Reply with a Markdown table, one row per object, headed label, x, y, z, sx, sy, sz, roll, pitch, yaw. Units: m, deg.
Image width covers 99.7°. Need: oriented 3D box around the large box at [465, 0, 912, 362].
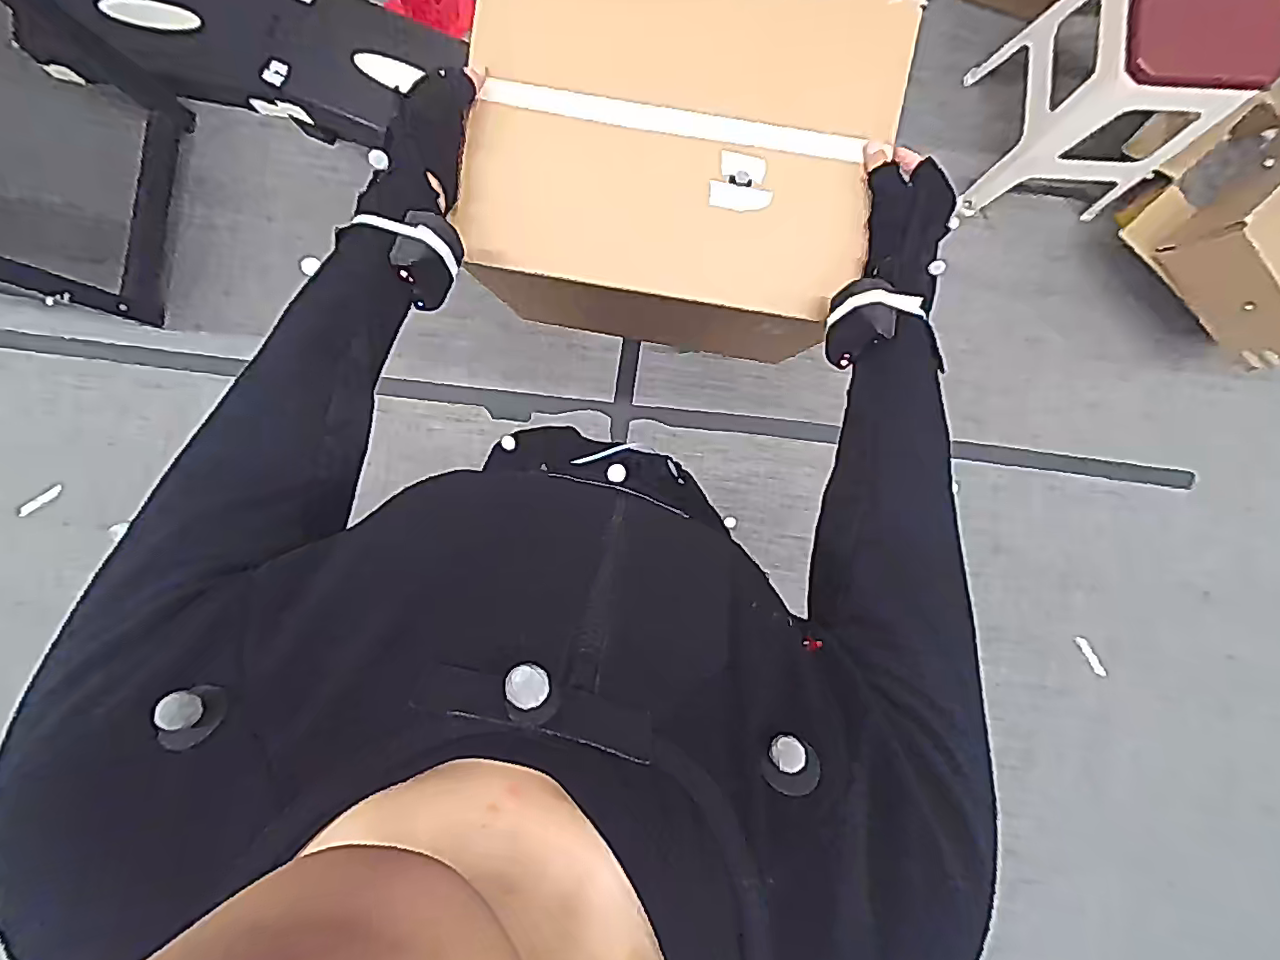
| label | x | y | z | sx | sy | sz | roll | pitch | yaw |
| --- | --- | --- | --- | --- | --- | --- | --- | --- | --- |
| large box | 0.041 | -0.348 | 0.673 | 0.408 | 0.320 | 0.320 | 10 | 96 | -1 |
